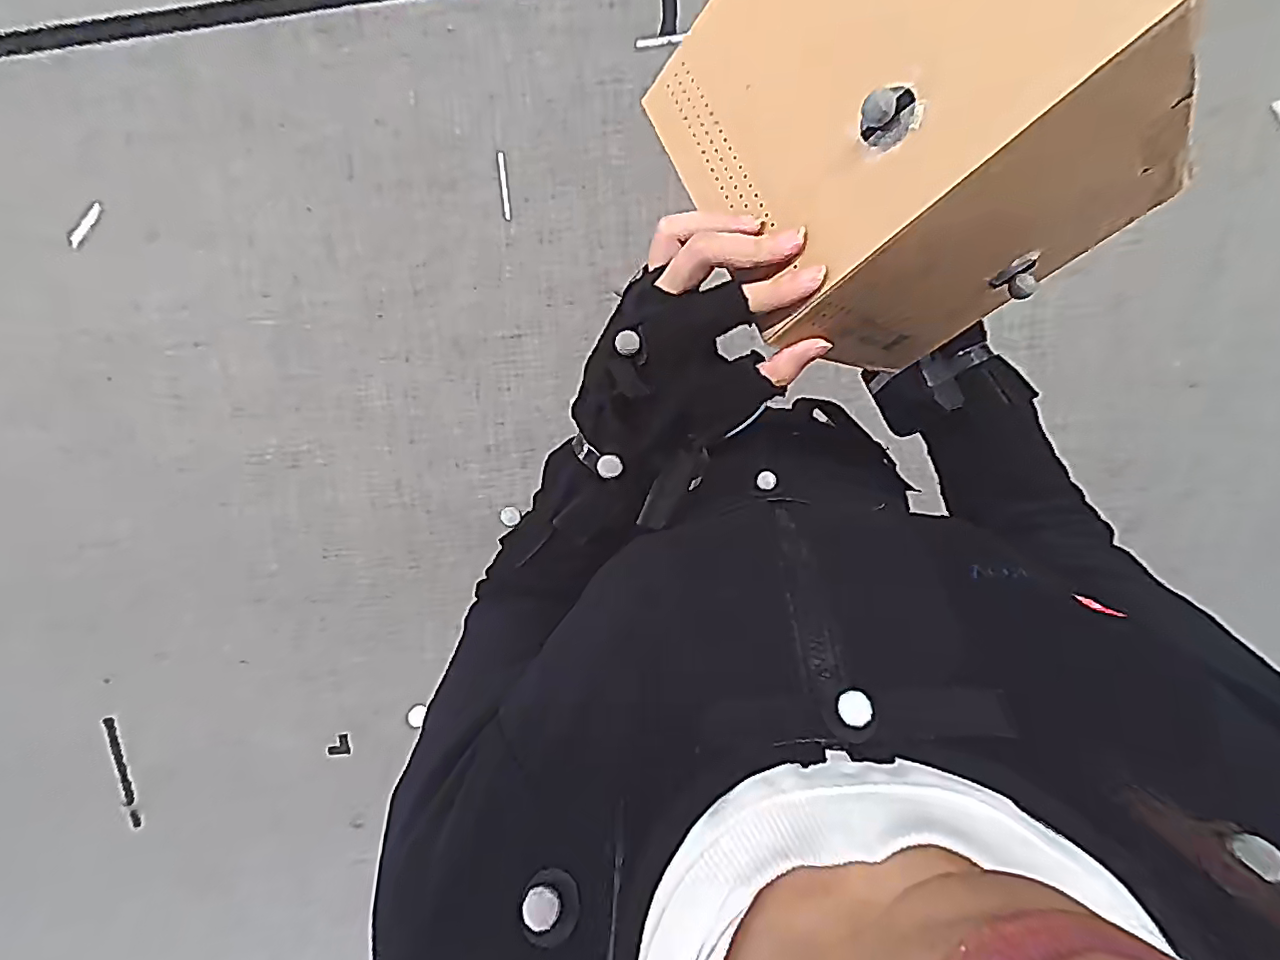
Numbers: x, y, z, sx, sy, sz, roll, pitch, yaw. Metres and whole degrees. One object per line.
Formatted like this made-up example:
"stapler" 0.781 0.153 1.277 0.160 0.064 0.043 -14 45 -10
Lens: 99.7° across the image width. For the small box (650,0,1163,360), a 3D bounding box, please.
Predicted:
"small box" 0.136 -0.191 0.306 0.176 0.168 0.179 -38 65 40
